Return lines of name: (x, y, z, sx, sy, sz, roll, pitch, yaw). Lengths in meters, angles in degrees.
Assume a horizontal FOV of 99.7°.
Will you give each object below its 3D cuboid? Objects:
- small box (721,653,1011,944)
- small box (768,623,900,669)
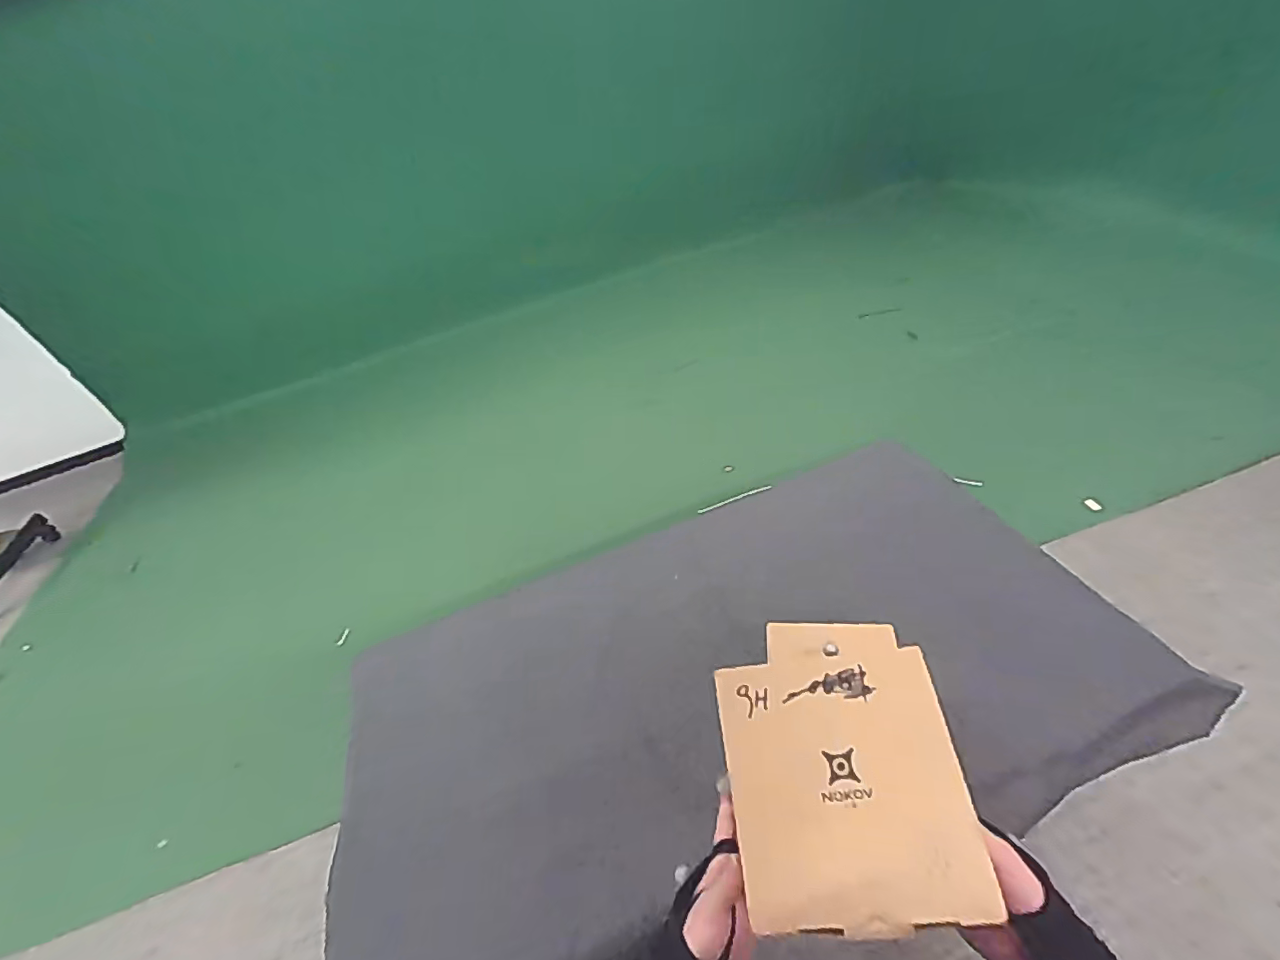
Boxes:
small box: (0.166, 0.258, 0.462, 0.168, 0.176, 0.179, -9, 62, 5)
small box: (0.261, 0.314, 0.726, 0.168, 0.176, 0.179, -3, 42, 14)
